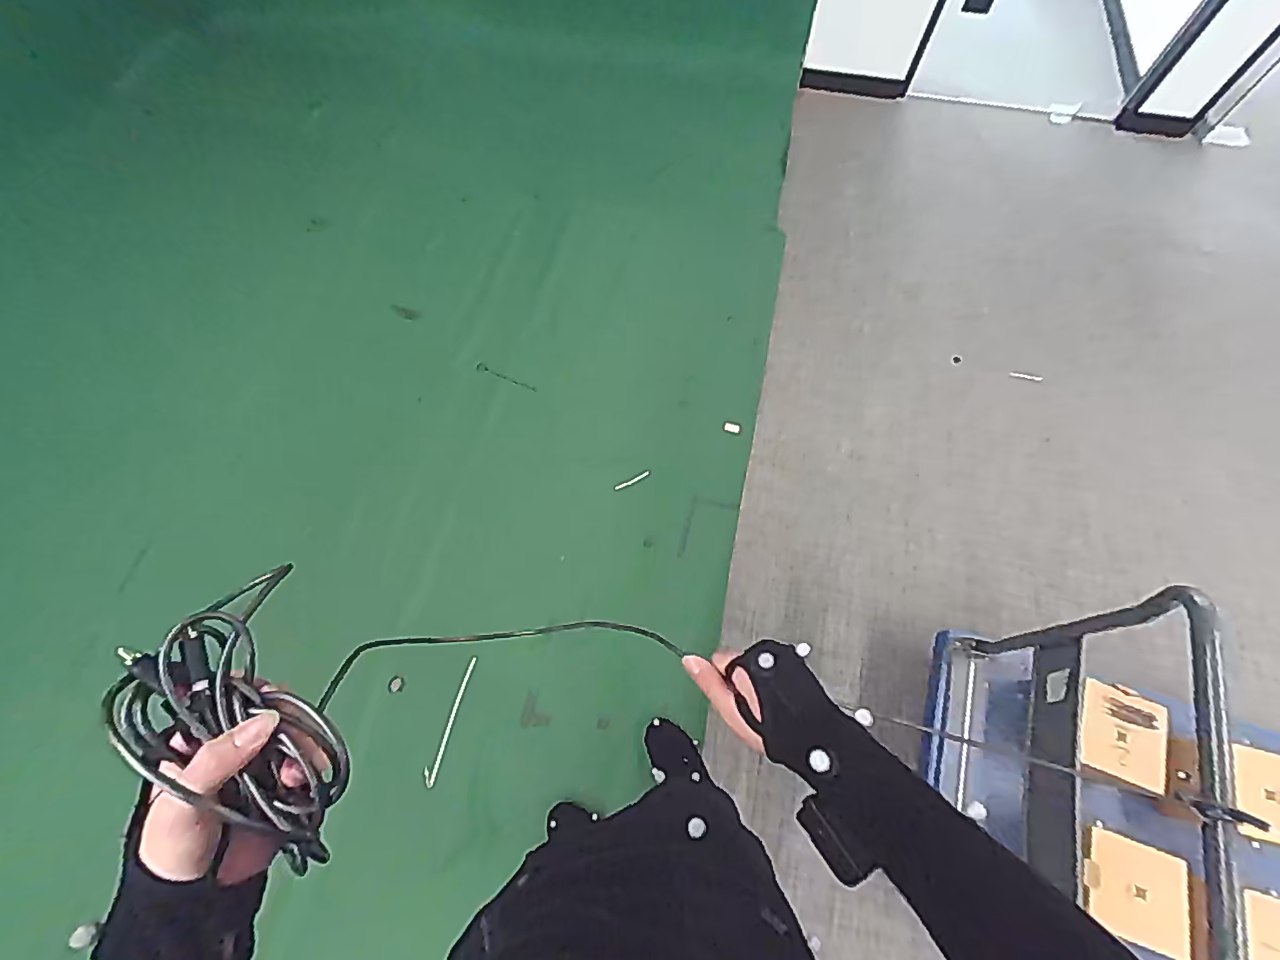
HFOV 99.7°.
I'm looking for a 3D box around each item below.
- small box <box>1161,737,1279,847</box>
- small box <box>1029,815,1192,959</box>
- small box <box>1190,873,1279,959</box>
[{"bbox_3d":[1.231,0.642,1.116,0.179,0.176,0.168,14,68,6],"label":"small box"},{"bbox_3d":[0.910,0.782,1.057,0.179,0.176,0.168,18,67,9],"label":"small box"},{"bbox_3d":[1.158,0.868,1.016,0.179,0.176,0.168,16,67,8],"label":"small box"}]
